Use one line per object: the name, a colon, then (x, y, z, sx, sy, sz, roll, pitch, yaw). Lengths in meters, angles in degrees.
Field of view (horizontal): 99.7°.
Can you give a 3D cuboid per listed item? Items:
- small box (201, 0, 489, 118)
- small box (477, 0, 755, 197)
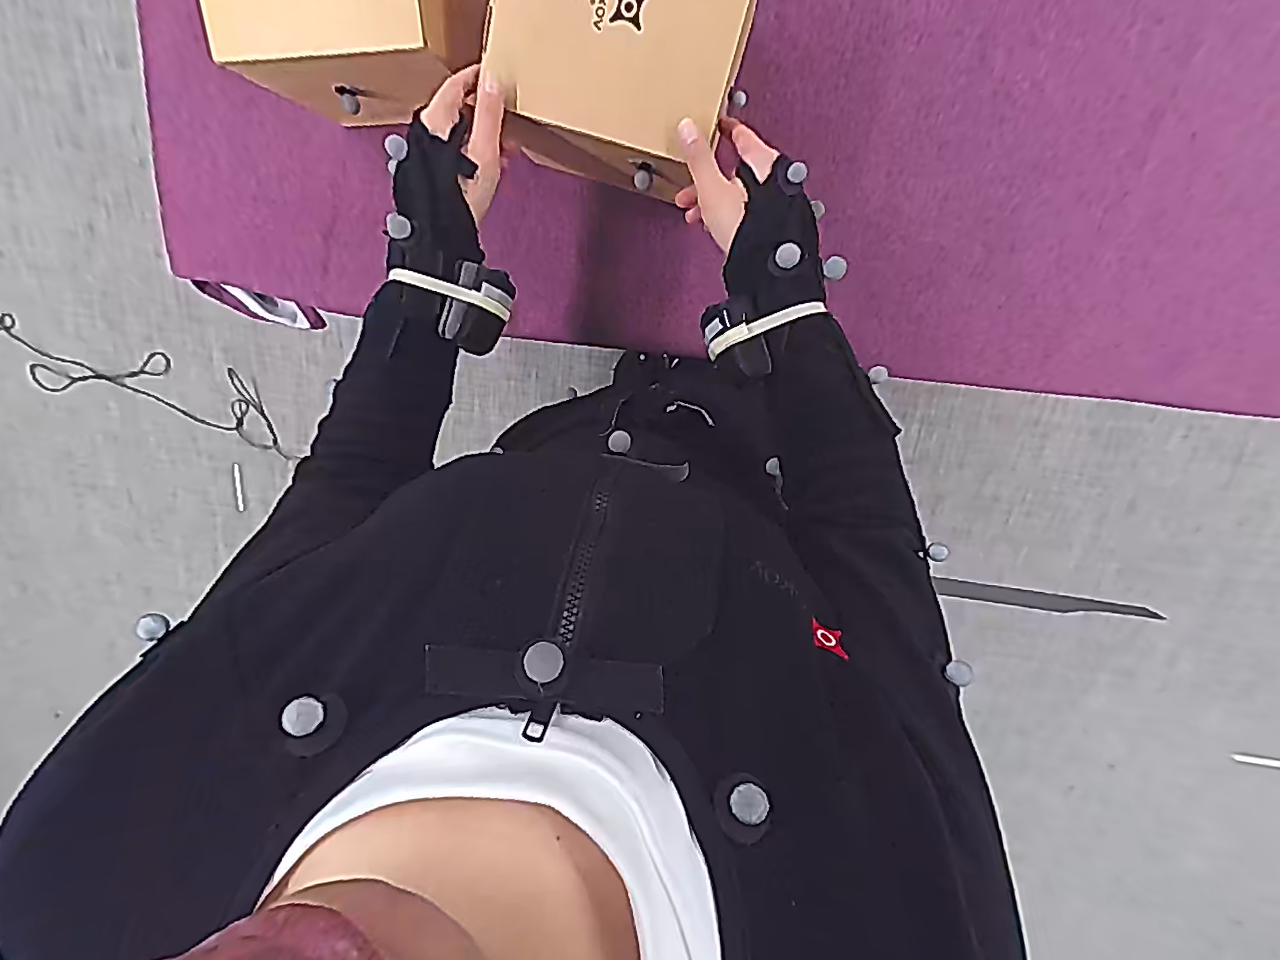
small box: (-0.230, -0.420, 0.444, 0.168, 0.176, 0.179, -1, 107, 5)
small box: (-0.008, -0.352, 0.444, 0.179, 0.176, 0.168, 16, 107, 0)
